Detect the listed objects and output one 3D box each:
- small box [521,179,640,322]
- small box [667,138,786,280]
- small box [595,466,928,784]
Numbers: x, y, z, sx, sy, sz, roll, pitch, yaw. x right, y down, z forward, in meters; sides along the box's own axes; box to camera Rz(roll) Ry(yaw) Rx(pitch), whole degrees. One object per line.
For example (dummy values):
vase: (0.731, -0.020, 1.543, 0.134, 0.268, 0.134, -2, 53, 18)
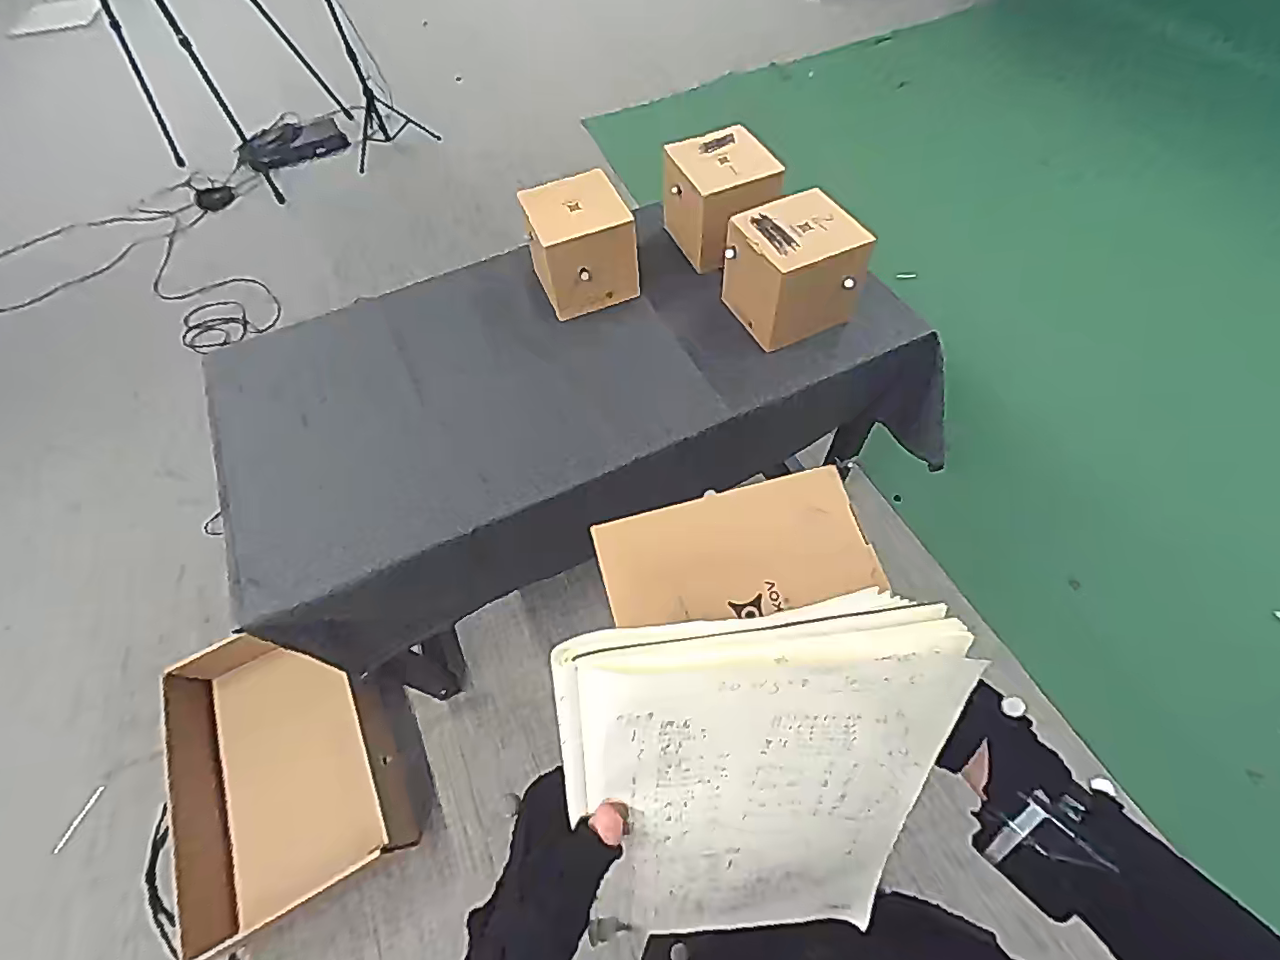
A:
small box: (-0.106, -0.422, 1.019, 0.168, 0.176, 0.179, -21, 59, -9)
small box: (0.159, -0.530, 1.064, 0.168, 0.176, 0.179, -21, 60, -8)
small box: (0.069, 0.110, 0.414, 0.179, 0.176, 0.168, -13, 68, -5)
